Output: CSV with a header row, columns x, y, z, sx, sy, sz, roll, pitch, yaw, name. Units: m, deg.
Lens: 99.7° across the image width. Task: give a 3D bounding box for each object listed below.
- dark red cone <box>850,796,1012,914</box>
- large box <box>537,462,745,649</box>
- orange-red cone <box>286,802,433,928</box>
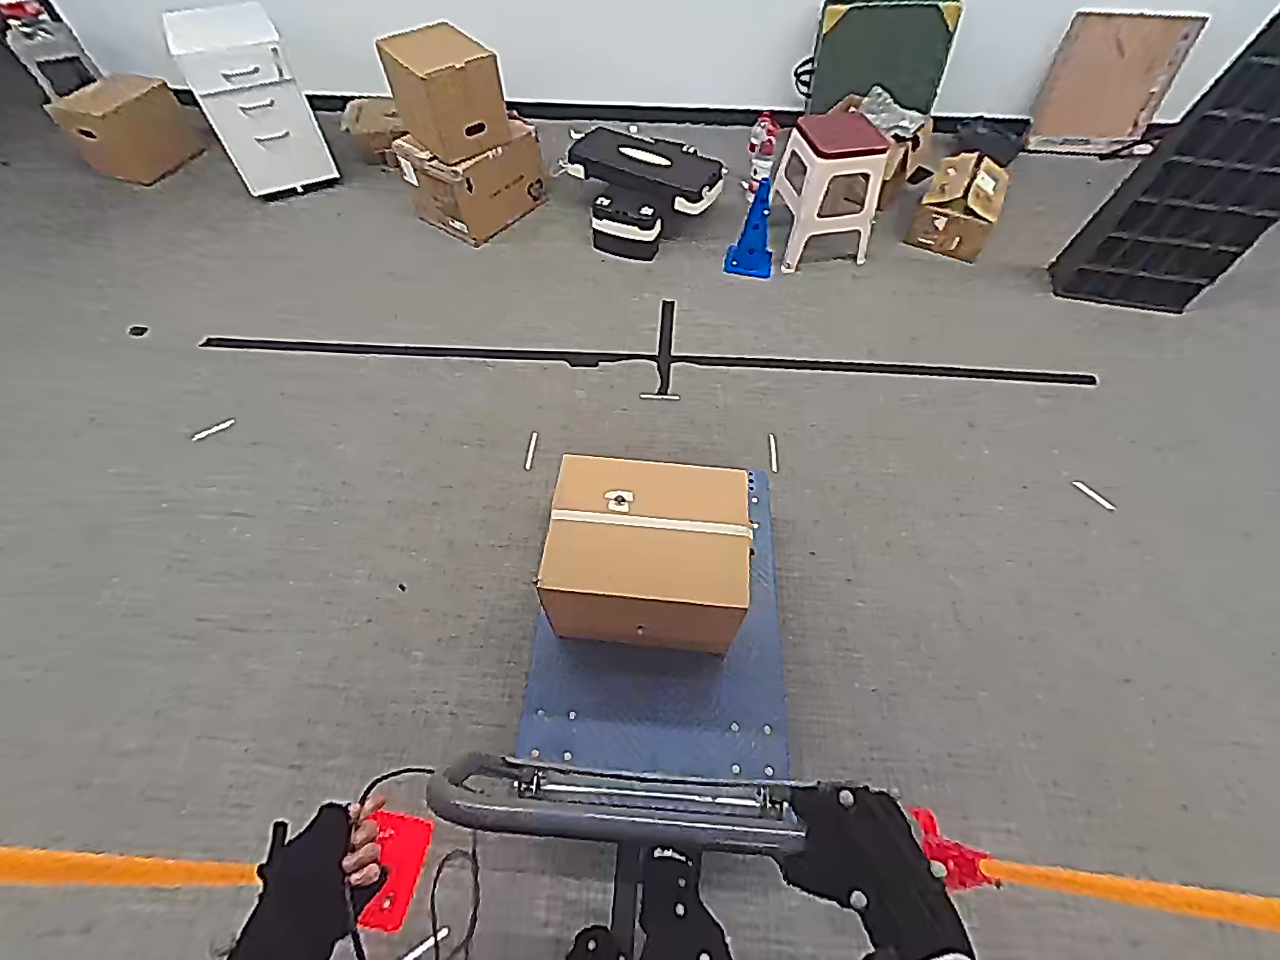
x,y,z,sx,sy,sz,roll,pitch,yaw,name
0.568,0.711,1.026,0.201,0.394,0.202,4,57,0,dark red cone
0.014,0.180,1.225,0.408,0.320,0.320,5,57,3,large box
-0.566,0.729,1.028,0.198,0.360,0.199,10,55,5,orange-red cone
